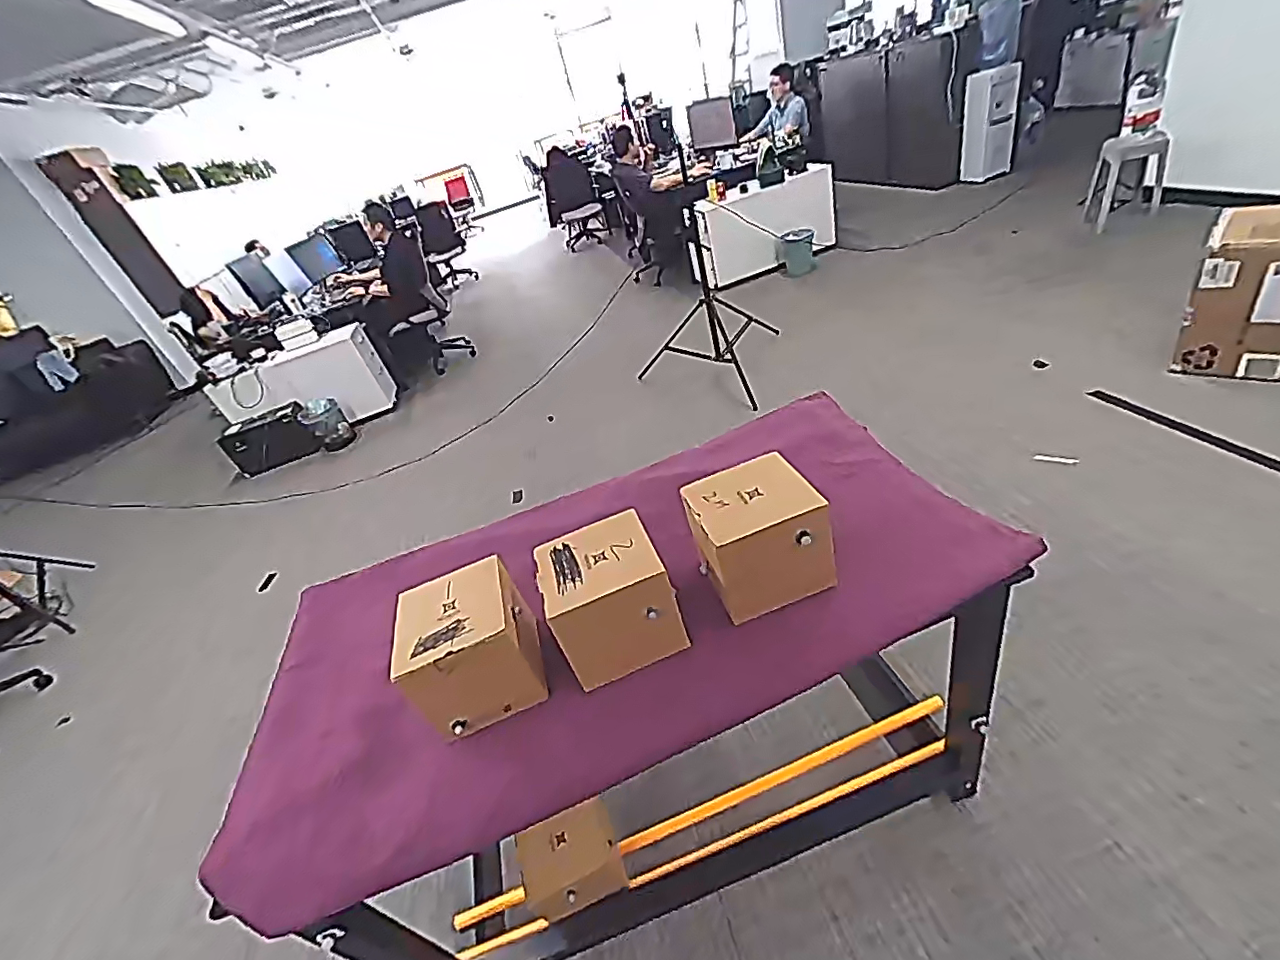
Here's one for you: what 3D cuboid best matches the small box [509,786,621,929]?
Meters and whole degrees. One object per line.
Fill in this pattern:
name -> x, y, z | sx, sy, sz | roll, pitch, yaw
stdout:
small box -> -0.151, 0.792, 1.135 | 0.179, 0.176, 0.168 | -24, 37, -8
